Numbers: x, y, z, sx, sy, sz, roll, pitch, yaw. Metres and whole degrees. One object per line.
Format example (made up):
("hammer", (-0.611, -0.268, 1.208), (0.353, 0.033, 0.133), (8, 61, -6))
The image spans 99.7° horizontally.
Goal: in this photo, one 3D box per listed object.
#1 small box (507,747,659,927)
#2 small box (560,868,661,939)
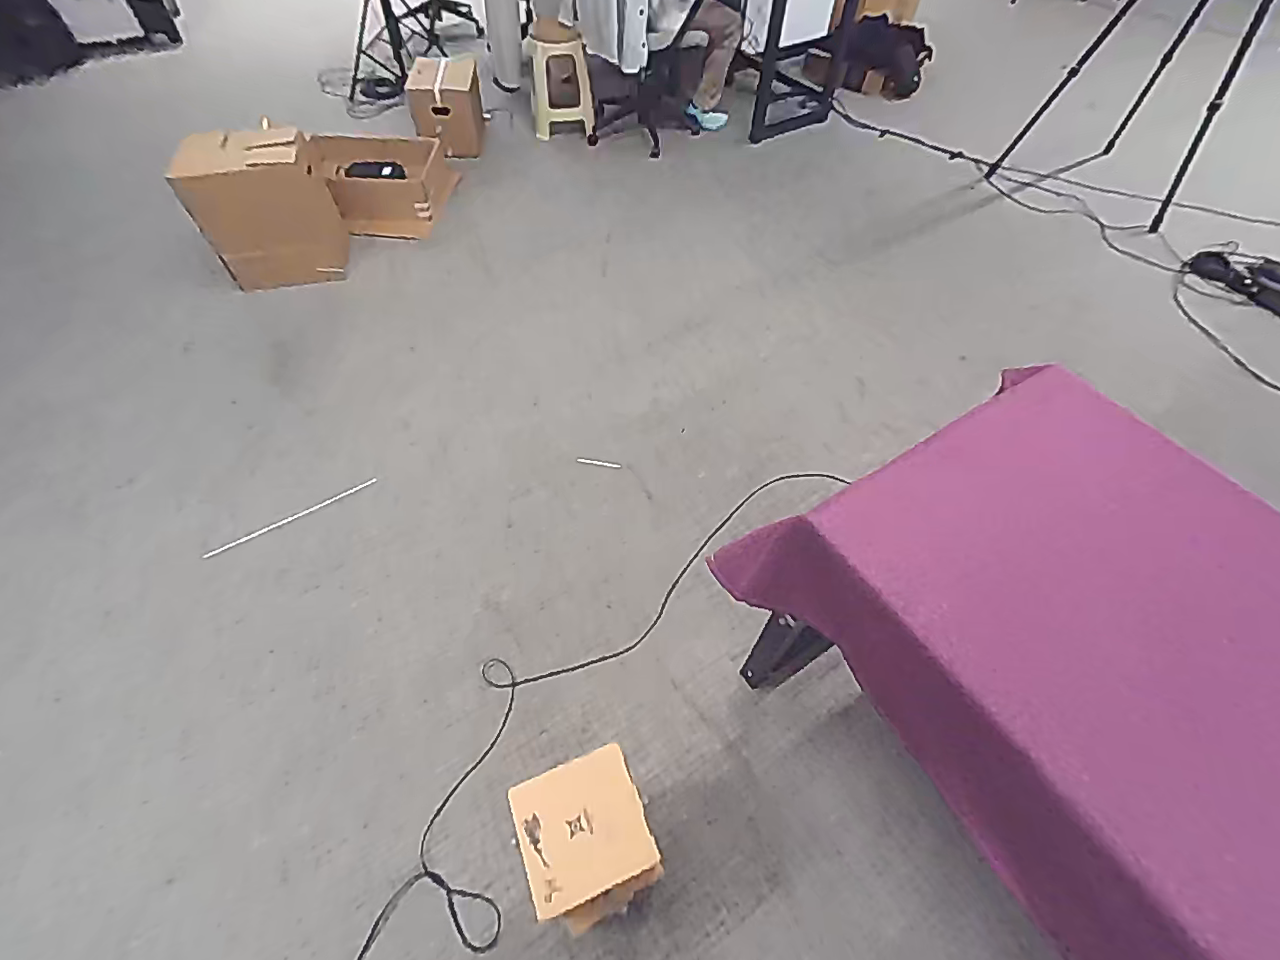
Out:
("small box", (-0.086, 0.534, 0.819), (0.179, 0.176, 0.168), (-17, 56, -15))
("small box", (-0.080, 0.647, 0.941), (0.168, 0.176, 0.179), (-25, 59, -18))
